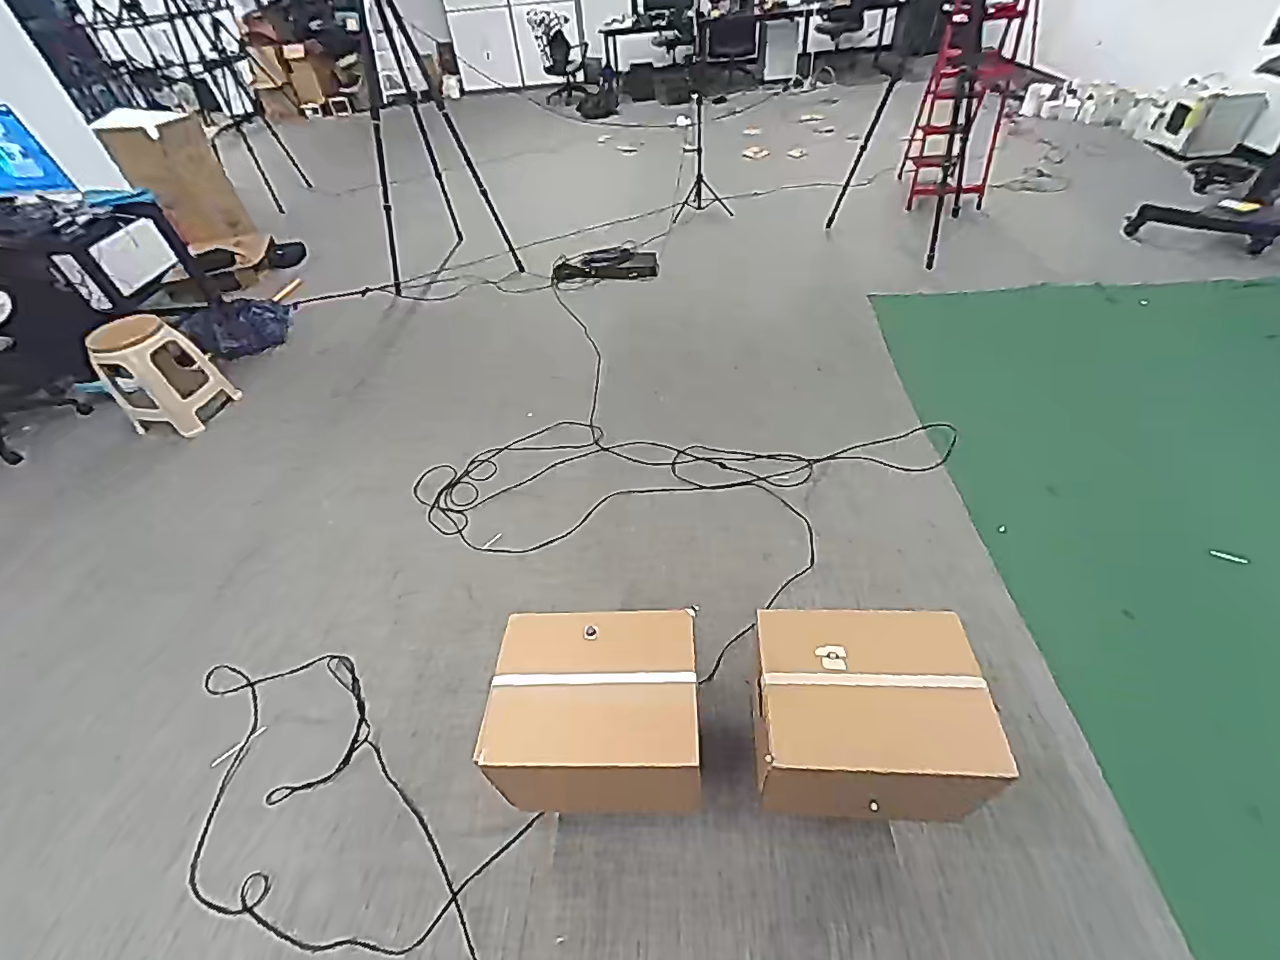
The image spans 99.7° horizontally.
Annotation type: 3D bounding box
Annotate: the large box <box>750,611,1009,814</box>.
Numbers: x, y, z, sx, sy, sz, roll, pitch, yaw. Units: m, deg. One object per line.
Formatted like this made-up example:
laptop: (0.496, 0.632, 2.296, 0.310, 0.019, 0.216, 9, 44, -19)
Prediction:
large box: (0.453, 0.490, 1.140, 0.408, 0.320, 0.320, -1, 45, 7)
